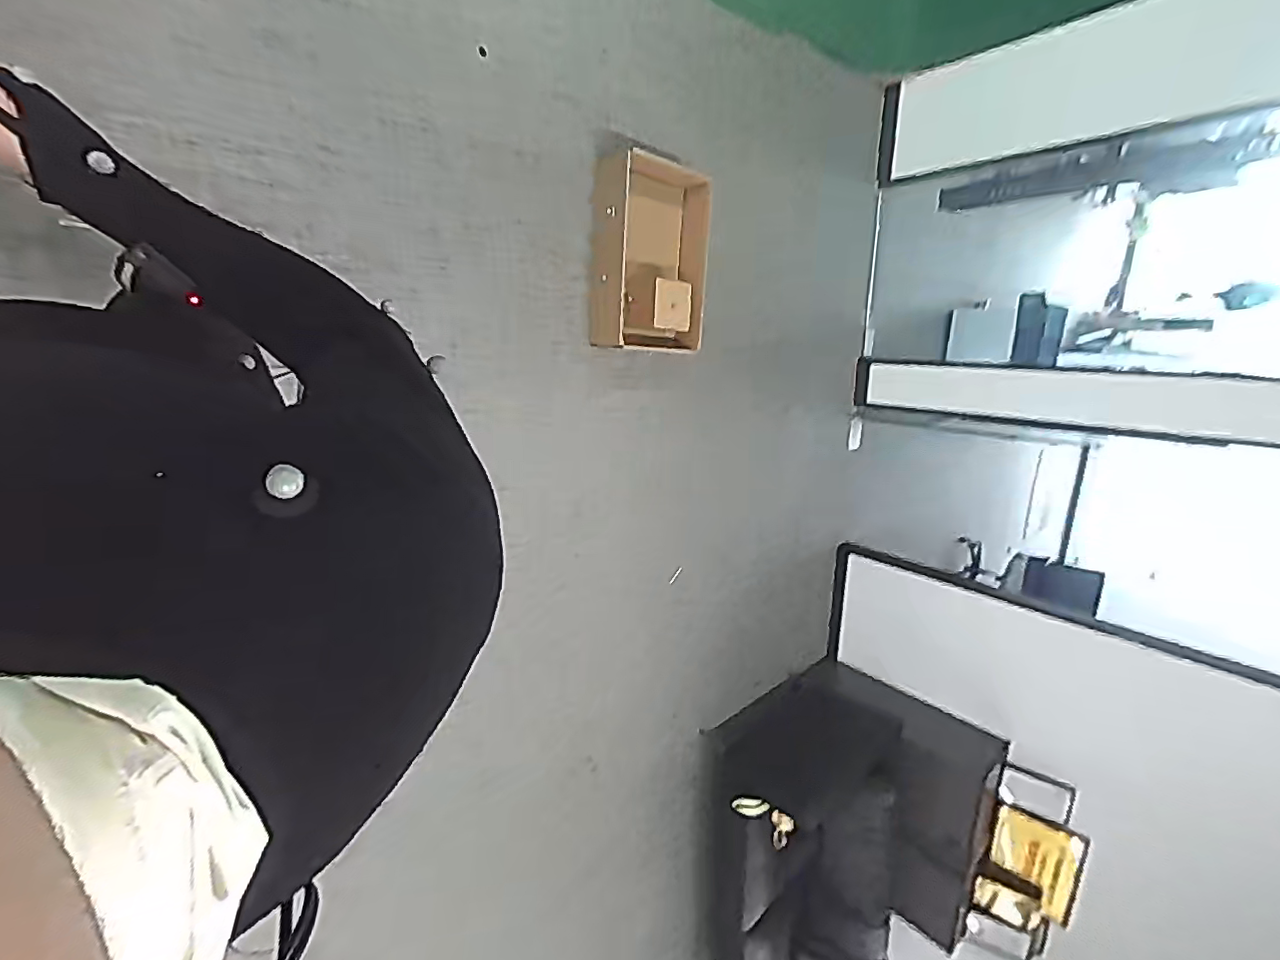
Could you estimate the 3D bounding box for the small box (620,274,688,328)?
[{"bbox_3d":[0.049,-0.641,1.949,0.179,0.176,0.168,-8,106,-41],"label":"small box"}]
